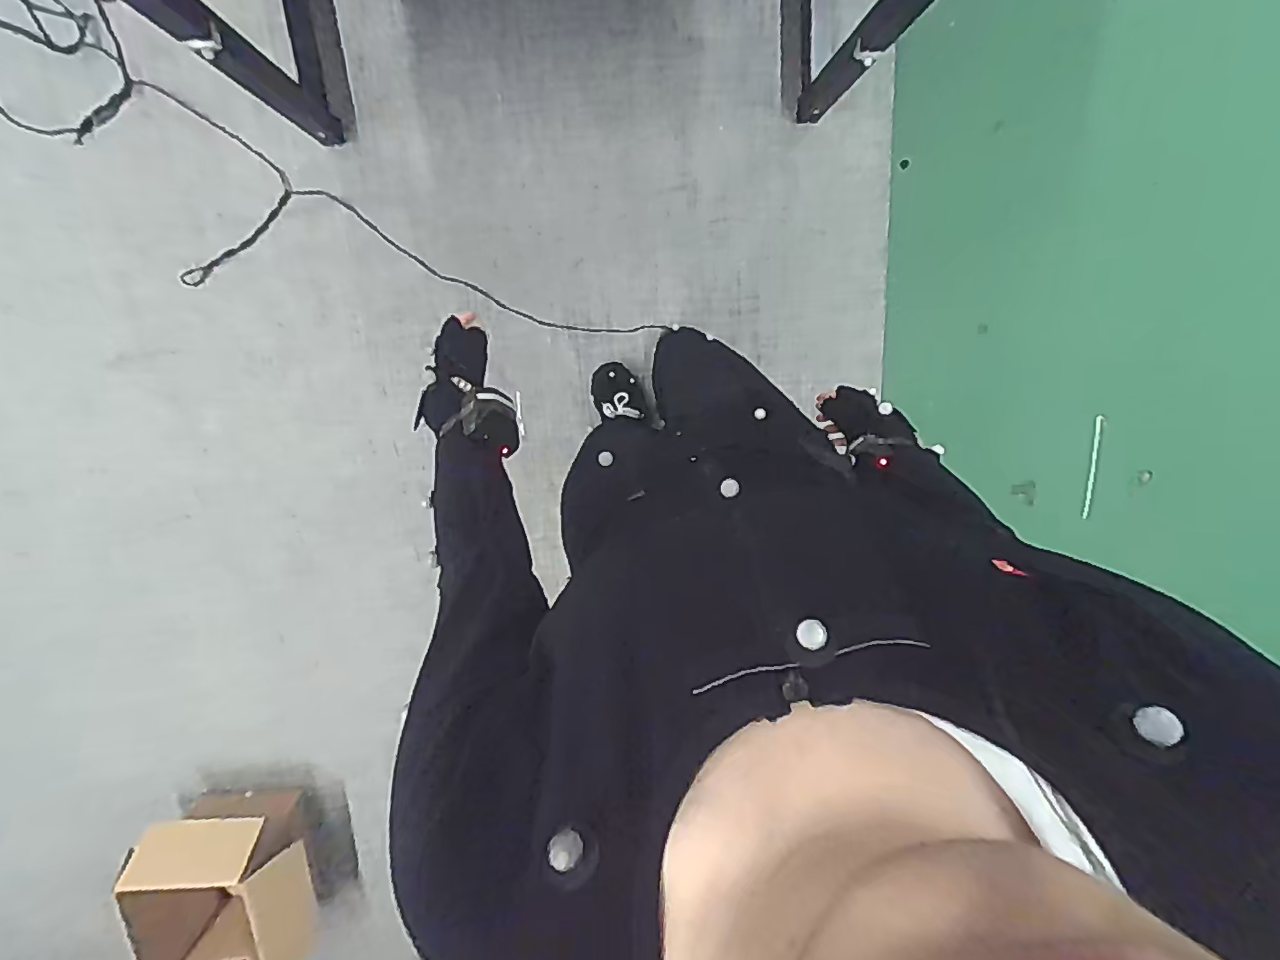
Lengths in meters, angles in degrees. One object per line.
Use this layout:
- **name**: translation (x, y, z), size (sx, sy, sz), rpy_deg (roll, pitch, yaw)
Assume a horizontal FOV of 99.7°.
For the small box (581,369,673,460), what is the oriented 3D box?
- **small box**: translation (-0.036, -0.171, 1.387), size (0.179, 0.176, 0.168), rpy_deg (25, 113, 9)
